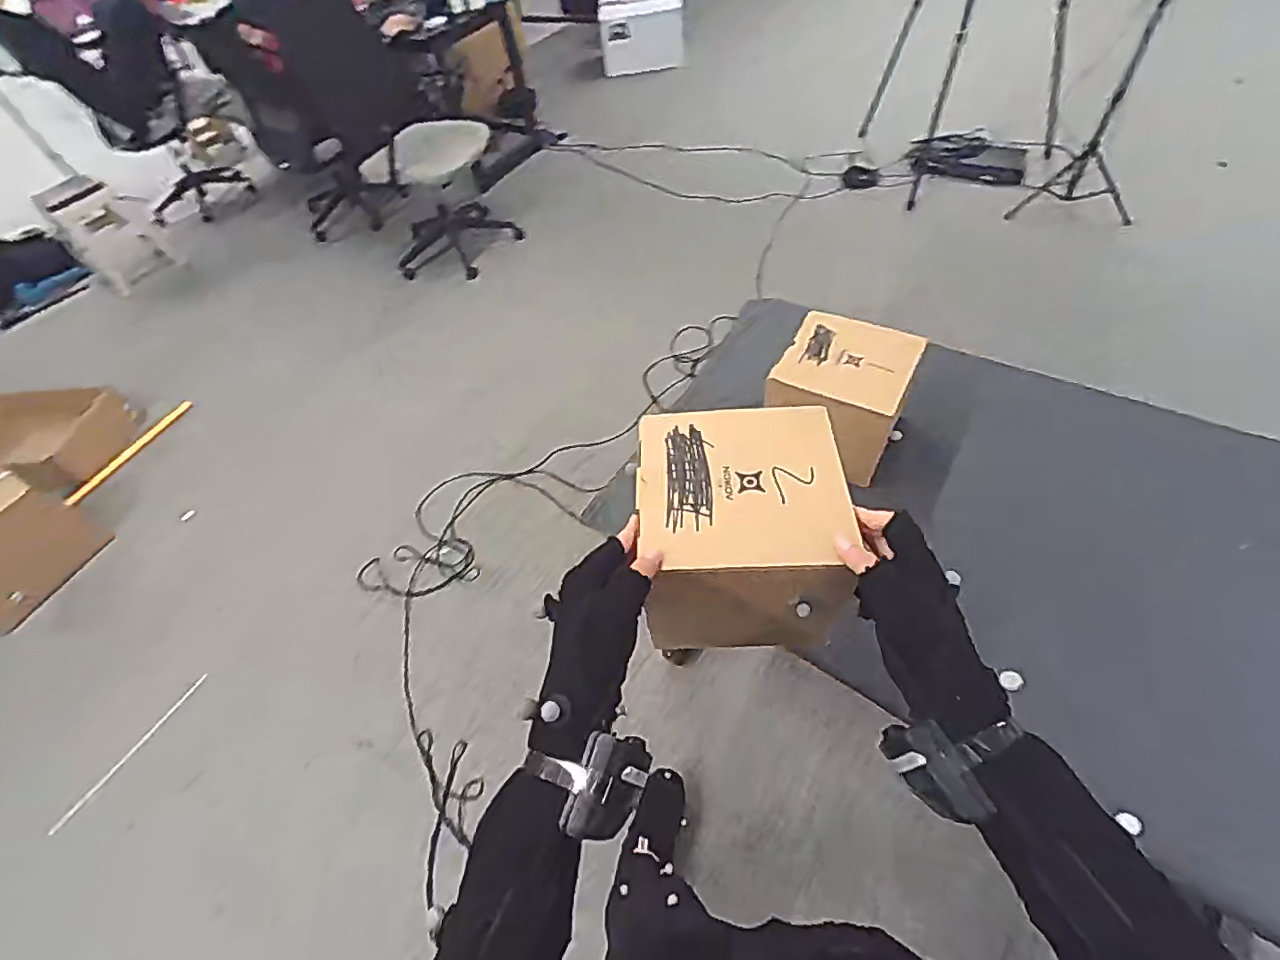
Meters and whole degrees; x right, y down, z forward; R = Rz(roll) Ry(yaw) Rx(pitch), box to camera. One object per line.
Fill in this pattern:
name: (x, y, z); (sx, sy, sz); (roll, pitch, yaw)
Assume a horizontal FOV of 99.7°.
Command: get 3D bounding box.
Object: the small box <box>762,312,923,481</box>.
small box: (0.298, -0.124, 0.830); (0.179, 0.176, 0.168); (23, 62, 23)
